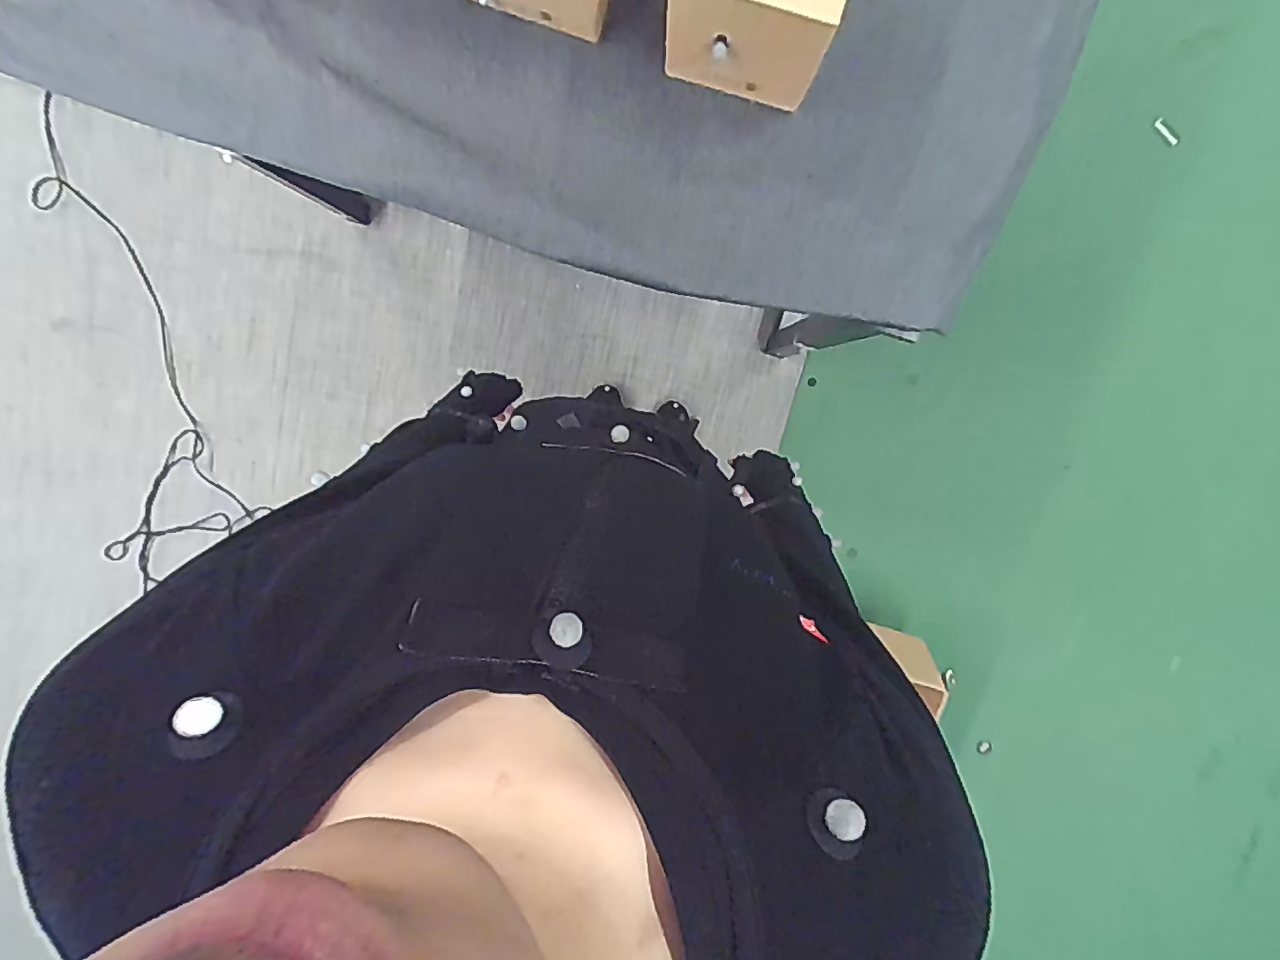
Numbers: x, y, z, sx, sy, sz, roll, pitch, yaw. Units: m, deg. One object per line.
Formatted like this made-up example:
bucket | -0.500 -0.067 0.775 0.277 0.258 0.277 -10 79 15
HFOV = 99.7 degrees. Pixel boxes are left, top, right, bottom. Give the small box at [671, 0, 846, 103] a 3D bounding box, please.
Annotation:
small box | 0.132 -0.534 0.556 0.168 0.176 0.179 16 100 -1
